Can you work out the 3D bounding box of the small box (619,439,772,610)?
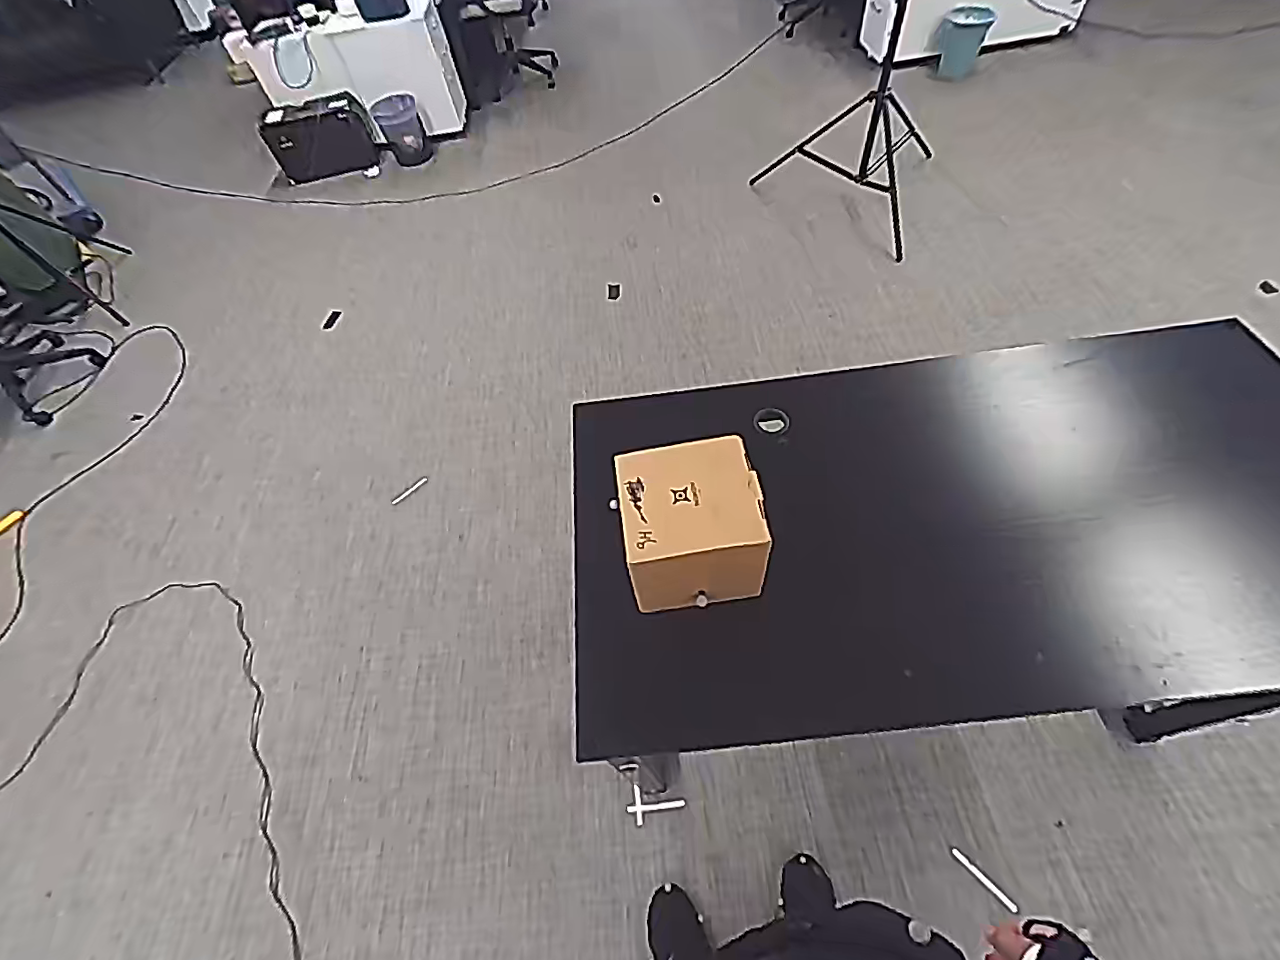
[{"bbox_3d":[0.070,0.067,0.755,0.179,0.176,0.168,-8,55,0],"label":"small box"}]
